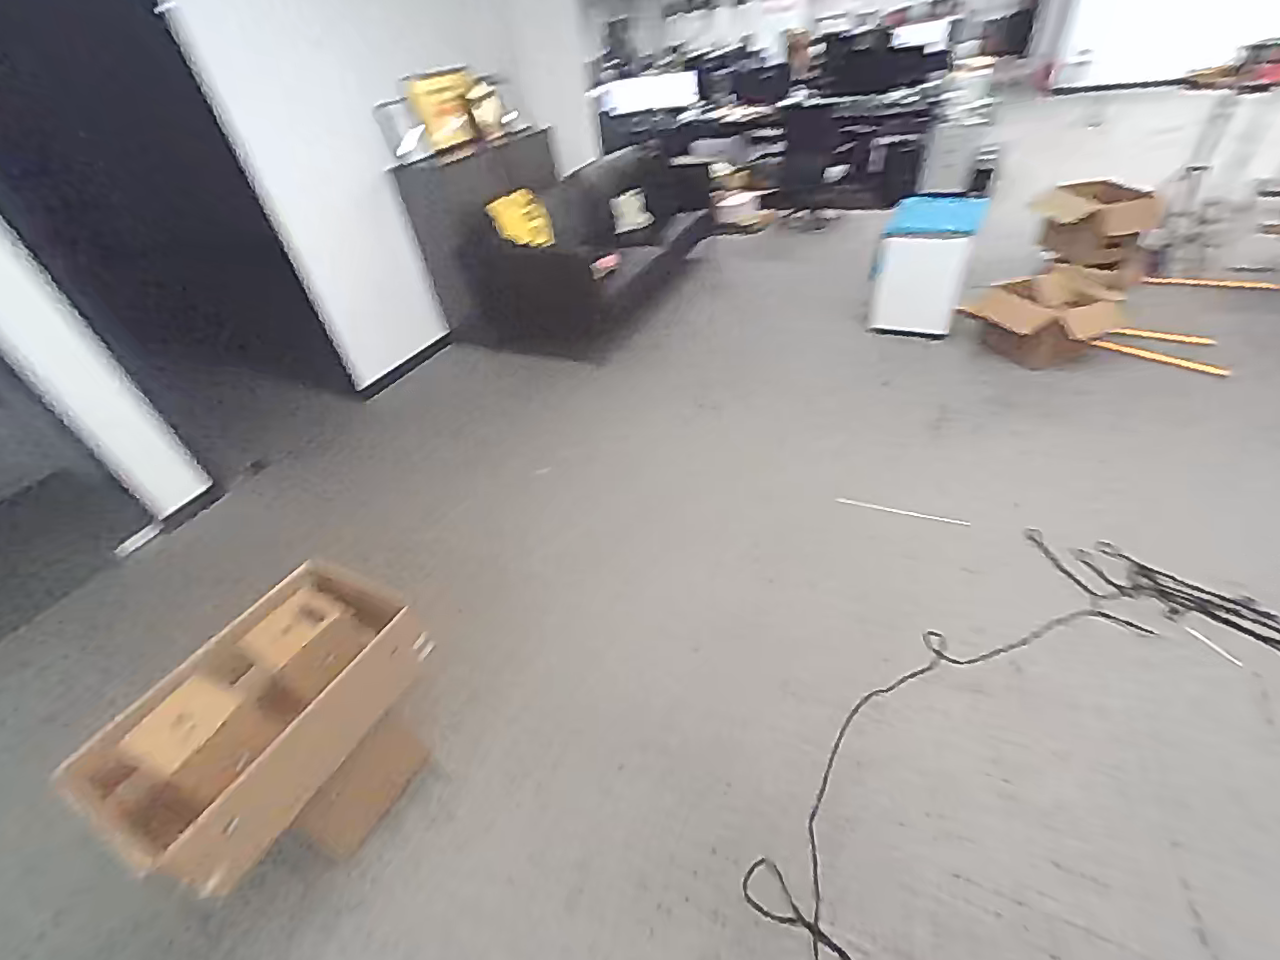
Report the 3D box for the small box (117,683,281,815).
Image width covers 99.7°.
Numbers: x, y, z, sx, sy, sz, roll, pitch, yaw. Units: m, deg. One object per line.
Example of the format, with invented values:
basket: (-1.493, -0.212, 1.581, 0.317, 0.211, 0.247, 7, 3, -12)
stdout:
small box: (-0.914, 0.566, 1.137, 0.179, 0.176, 0.168, 10, 42, 22)
